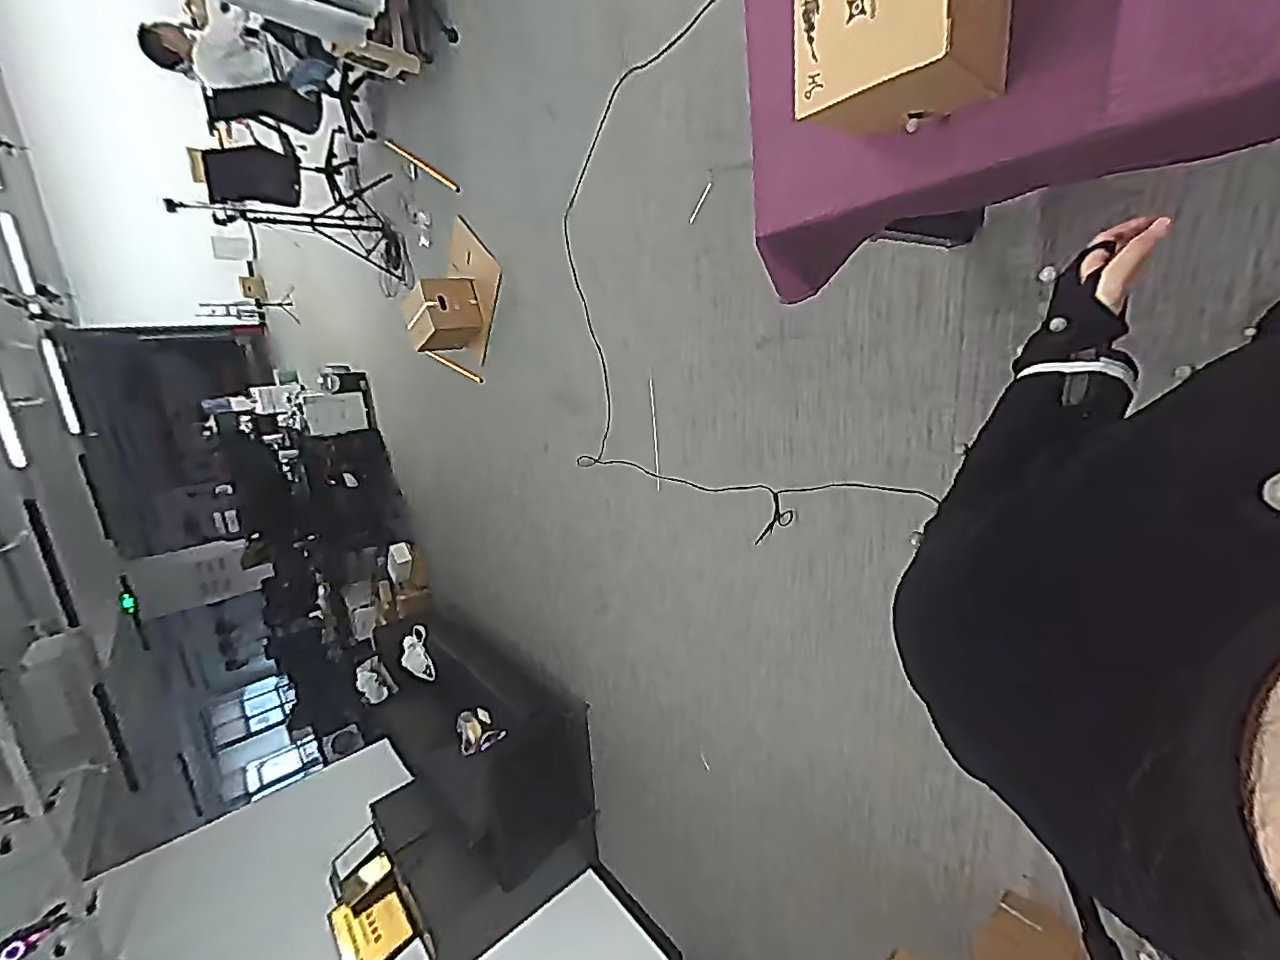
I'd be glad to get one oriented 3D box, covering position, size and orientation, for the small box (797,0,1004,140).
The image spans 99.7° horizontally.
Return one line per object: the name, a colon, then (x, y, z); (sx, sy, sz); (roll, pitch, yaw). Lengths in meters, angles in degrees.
small box: (0.304, -0.526, 0.630); (0.179, 0.176, 0.168); (12, 110, 48)
